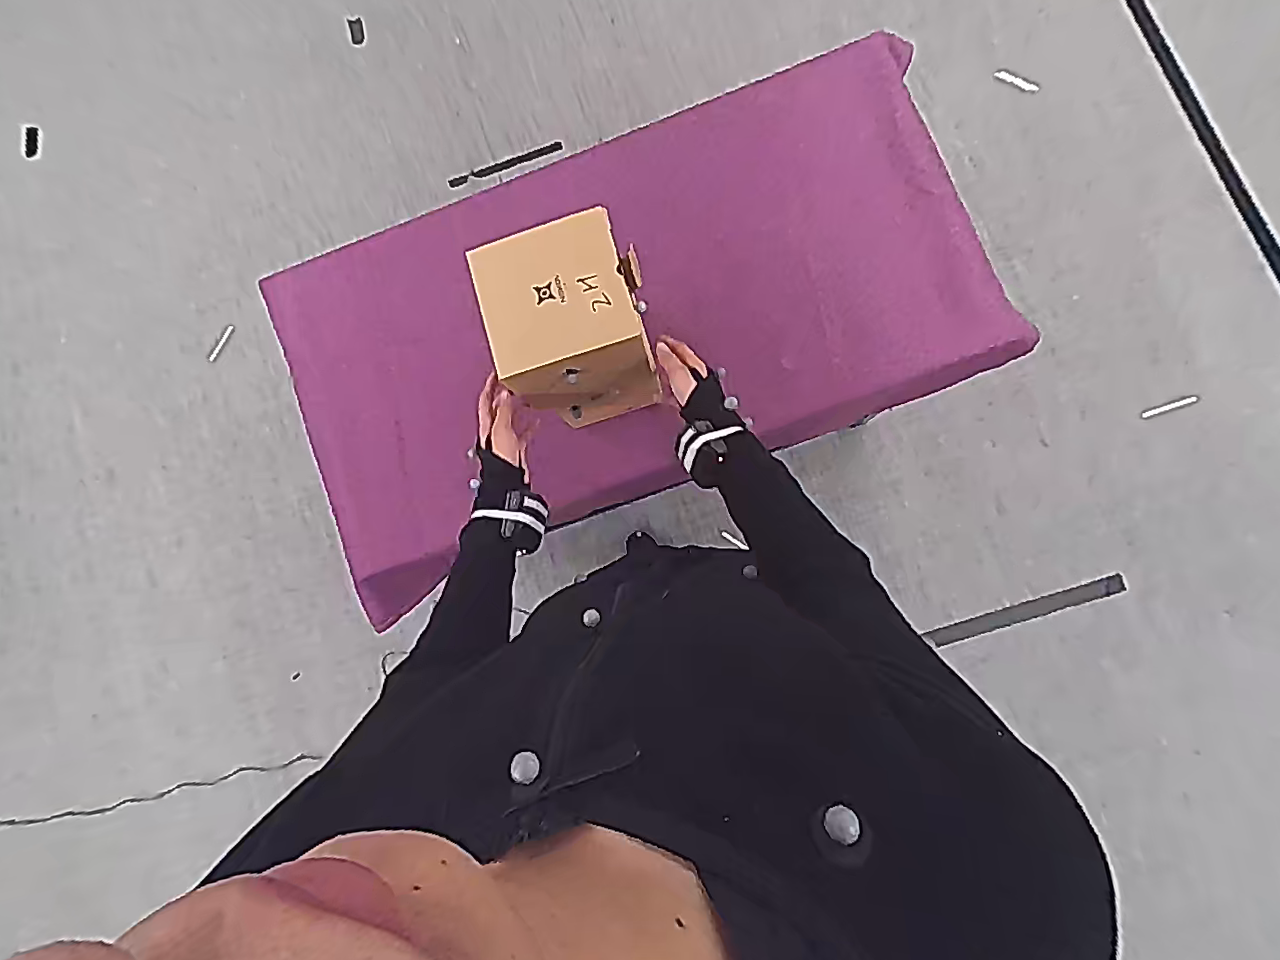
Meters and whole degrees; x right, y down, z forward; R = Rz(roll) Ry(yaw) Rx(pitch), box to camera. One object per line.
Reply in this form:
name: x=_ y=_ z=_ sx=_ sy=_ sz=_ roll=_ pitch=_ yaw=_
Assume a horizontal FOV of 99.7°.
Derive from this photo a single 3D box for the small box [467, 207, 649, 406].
small box: x=-0.095 y=-0.210 z=0.704 sx=0.179 sy=0.176 sz=0.168 roll=-16 pitch=83 yaw=3
